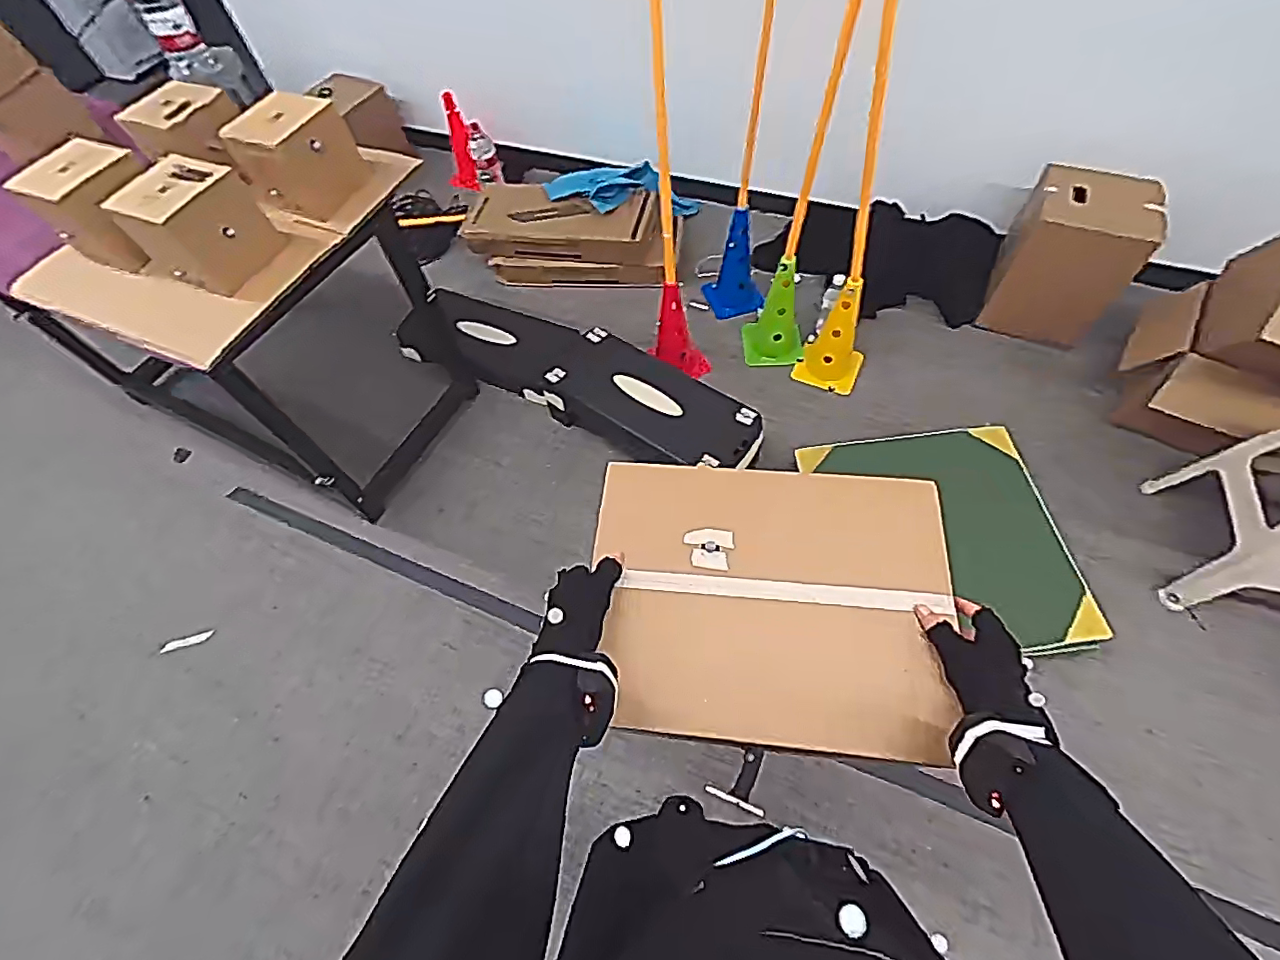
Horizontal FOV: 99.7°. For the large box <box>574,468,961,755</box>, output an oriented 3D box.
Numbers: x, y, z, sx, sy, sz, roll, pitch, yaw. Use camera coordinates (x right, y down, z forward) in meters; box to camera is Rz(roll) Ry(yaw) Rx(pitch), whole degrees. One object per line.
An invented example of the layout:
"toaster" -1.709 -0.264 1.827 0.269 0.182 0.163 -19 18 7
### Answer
"large box" 0.154 0.193 0.757 0.408 0.320 0.320 3 63 8
